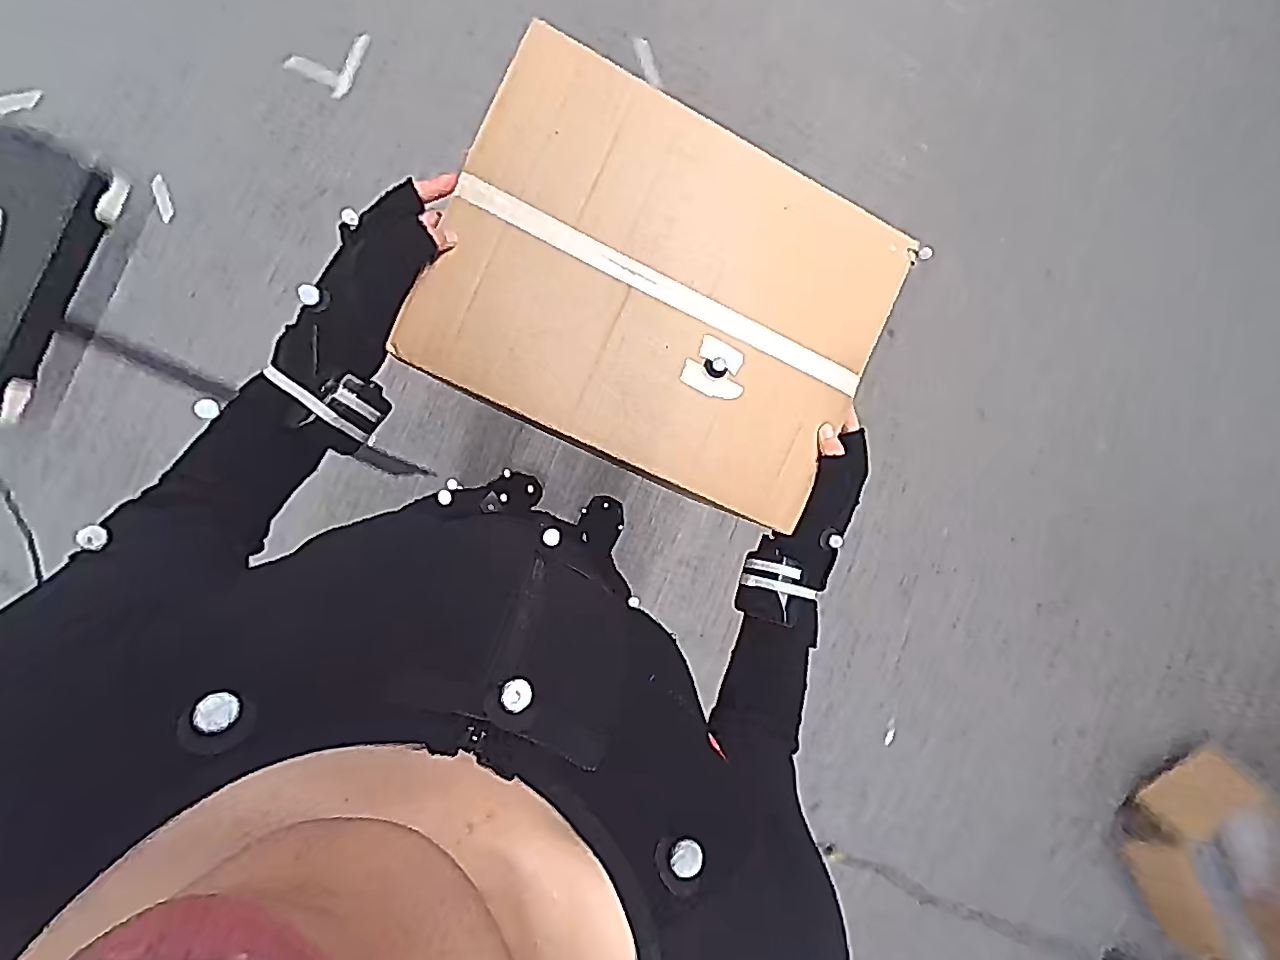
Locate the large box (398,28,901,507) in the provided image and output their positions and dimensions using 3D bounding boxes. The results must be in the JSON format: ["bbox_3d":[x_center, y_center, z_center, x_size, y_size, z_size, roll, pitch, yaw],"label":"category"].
[{"bbox_3d":[-0.001,-0.191,0.647,0.408,0.320,0.320,23,90,-10],"label":"large box"}]
